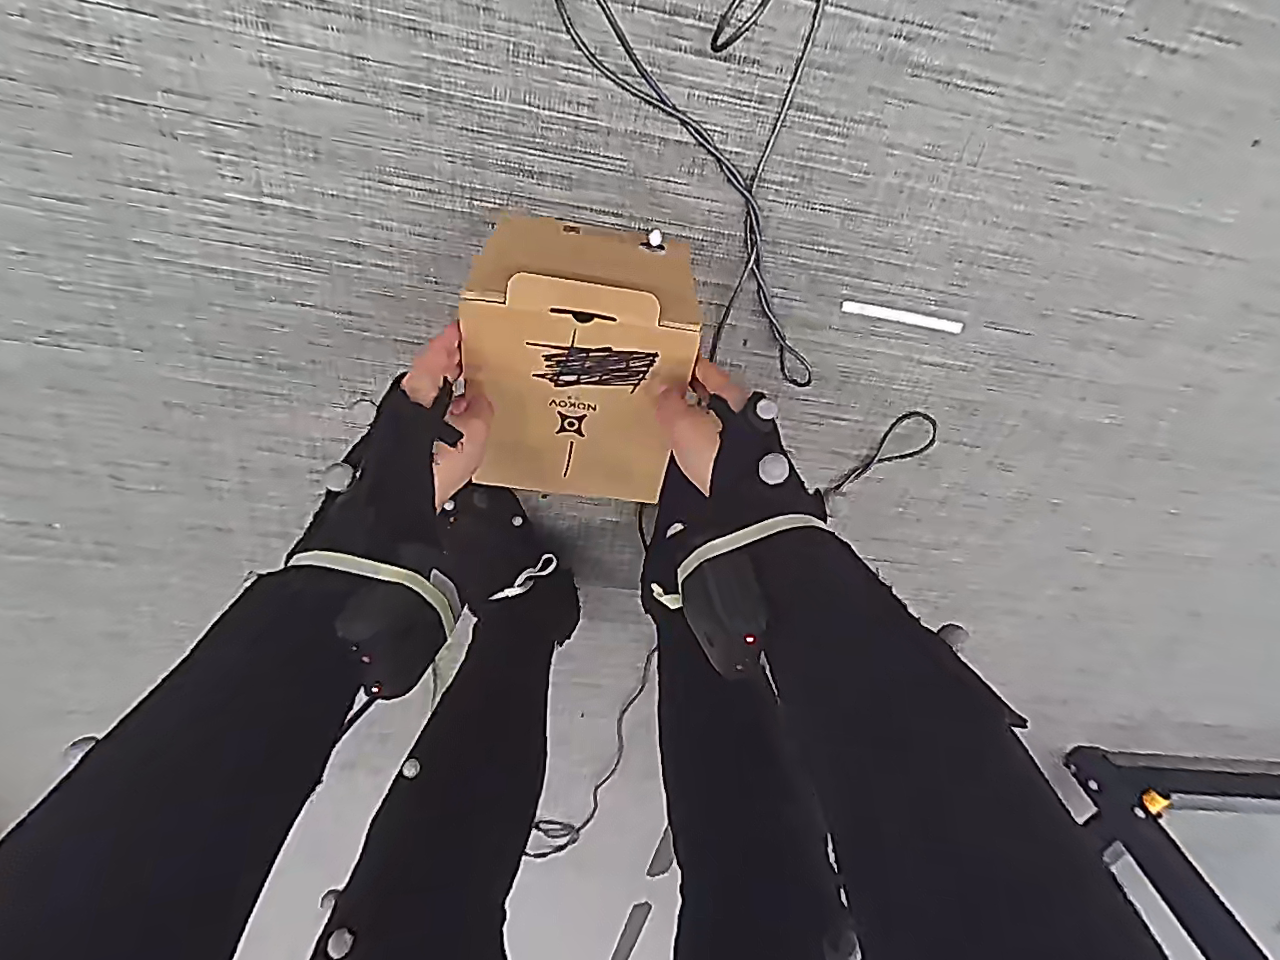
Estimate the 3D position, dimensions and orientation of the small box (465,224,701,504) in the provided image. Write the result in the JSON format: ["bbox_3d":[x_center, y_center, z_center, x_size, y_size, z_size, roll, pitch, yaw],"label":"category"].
[{"bbox_3d":[-0.052,-0.105,0.480,0.168,0.176,0.179,7,132,-7],"label":"small box"}]
